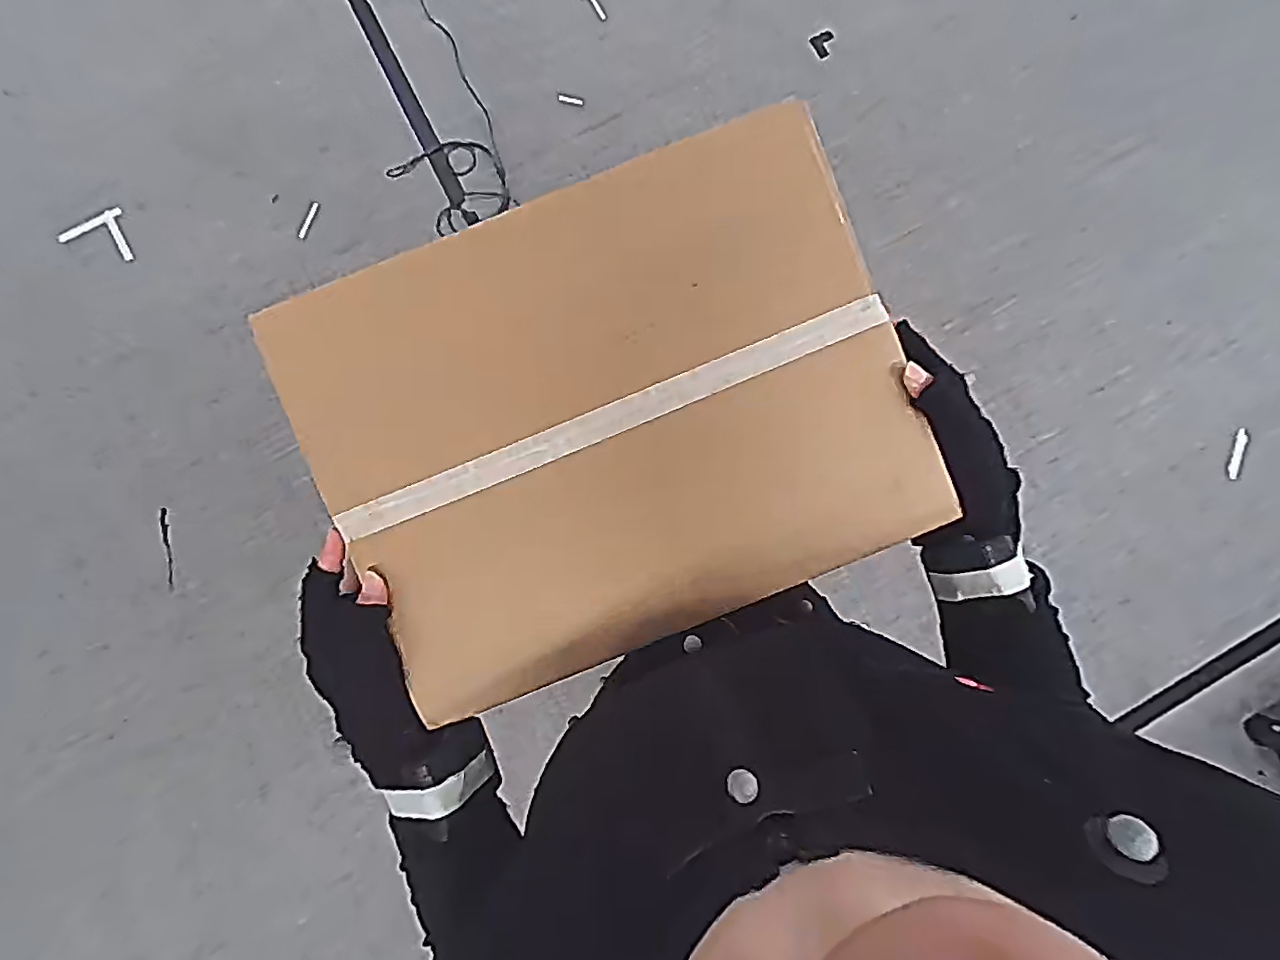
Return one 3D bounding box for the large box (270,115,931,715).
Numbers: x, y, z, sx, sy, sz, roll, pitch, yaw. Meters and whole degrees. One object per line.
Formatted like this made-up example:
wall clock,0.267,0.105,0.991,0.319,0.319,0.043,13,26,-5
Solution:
large box,-0.025,-0.050,0.535,0.408,0.320,0.320,-22,92,0
